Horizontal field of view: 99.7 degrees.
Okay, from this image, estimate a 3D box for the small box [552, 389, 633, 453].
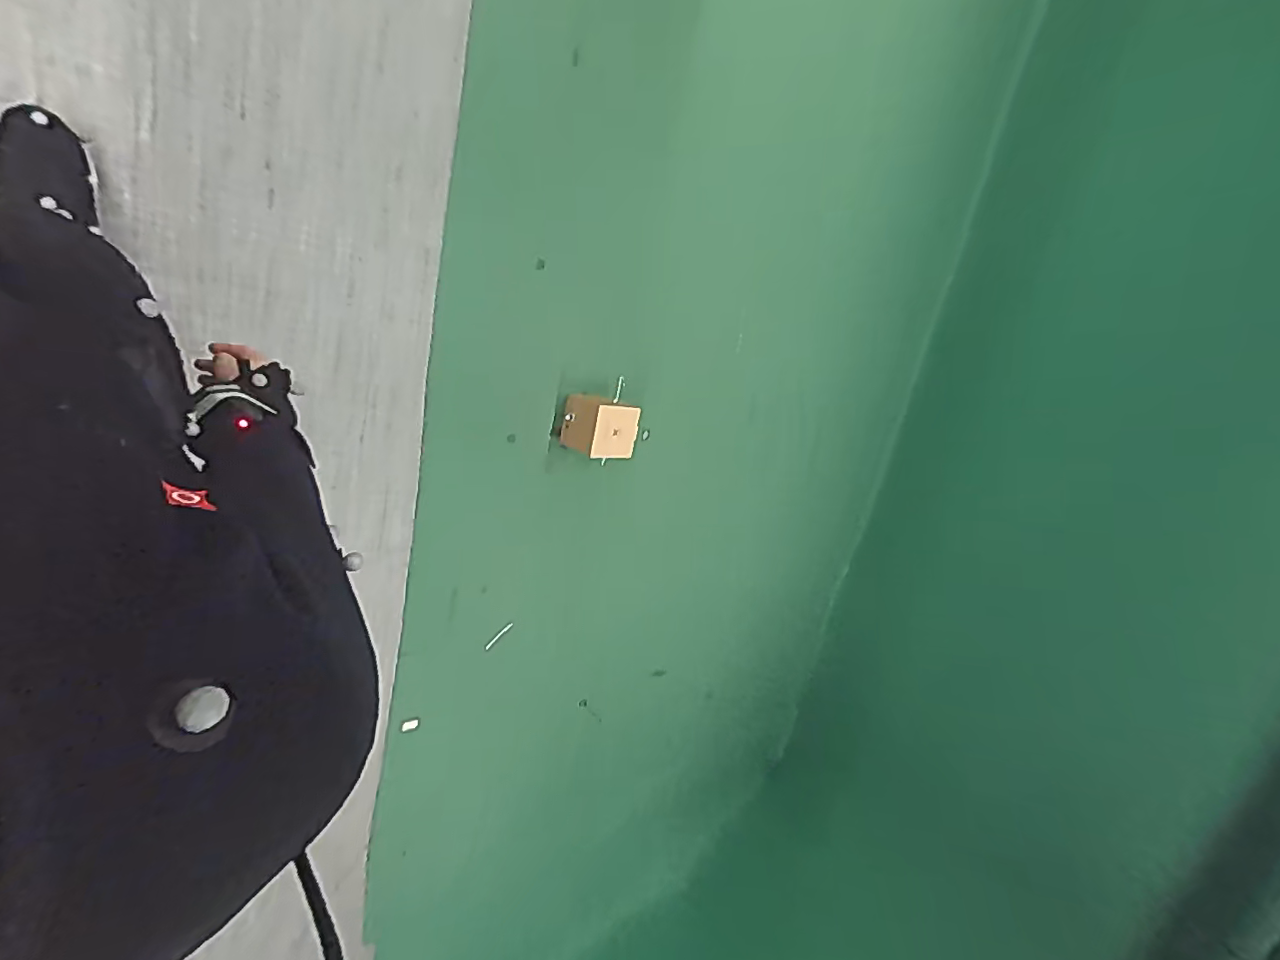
[{"bbox_3d":[-0.153,-0.189,1.723,0.179,0.176,0.168,-3,111,-45],"label":"small box"}]
